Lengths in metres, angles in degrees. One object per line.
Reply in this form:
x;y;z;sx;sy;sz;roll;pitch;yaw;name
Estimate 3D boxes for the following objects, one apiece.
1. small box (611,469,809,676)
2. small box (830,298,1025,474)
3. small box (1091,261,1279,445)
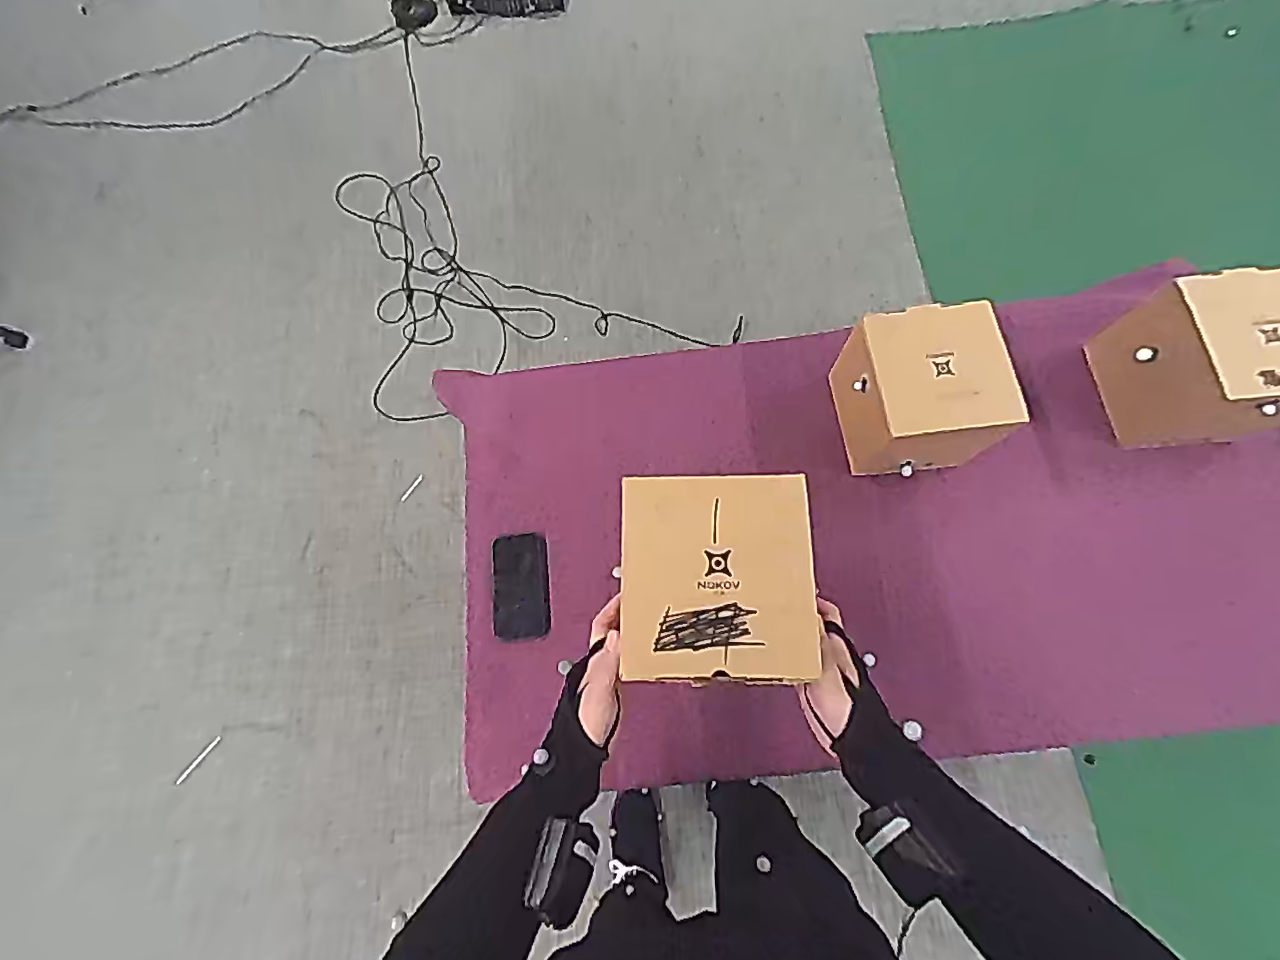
0.065;0.095;0.541;0.168;0.176;0.179;-1;75;4;small box
0.376;-0.121;0.747;0.168;0.176;0.179;-6;73;3;small box
0.764;-0.163;0.726;0.168;0.176;0.179;-6;71;4;small box
